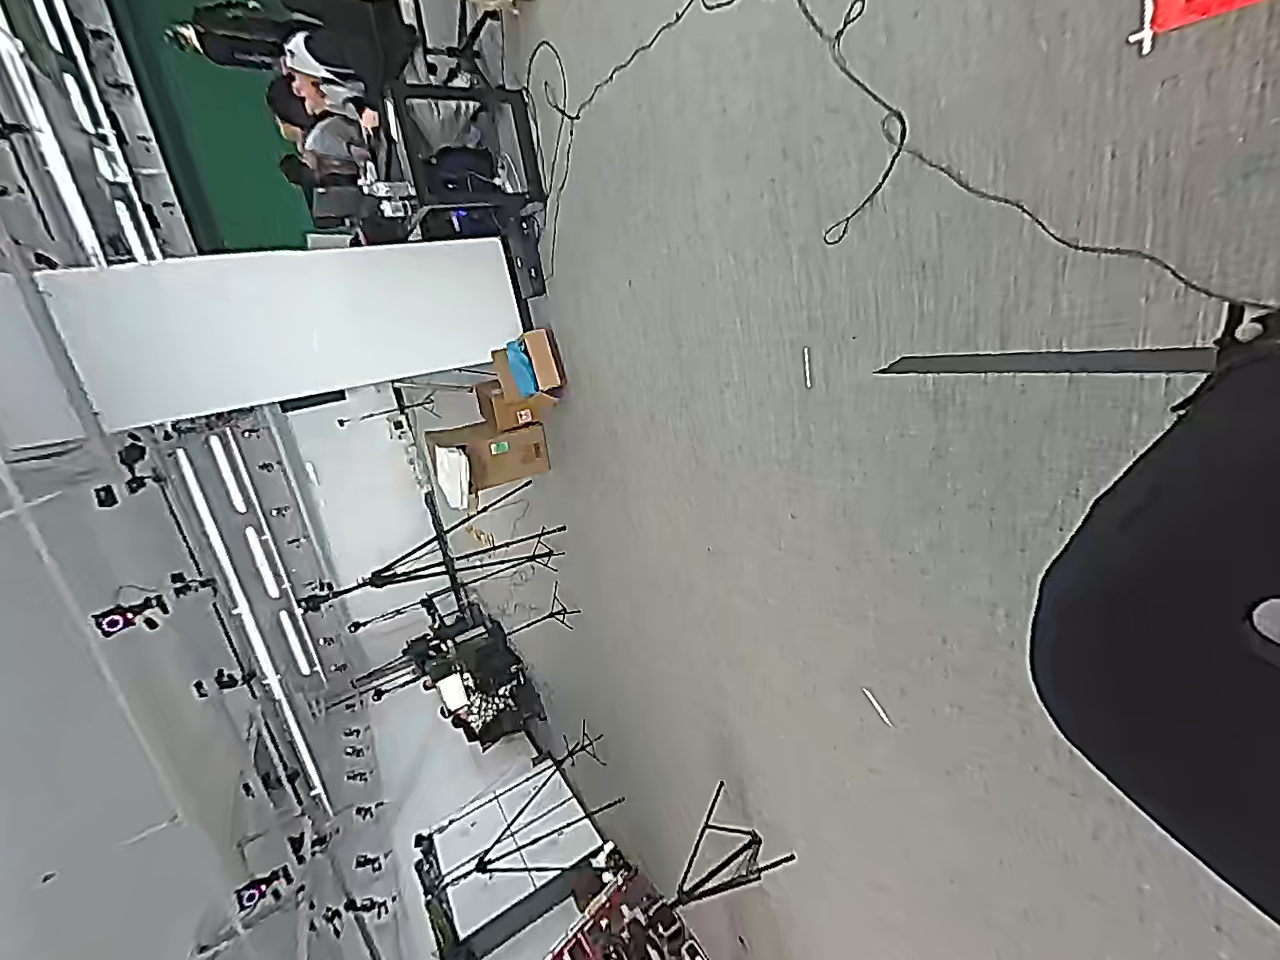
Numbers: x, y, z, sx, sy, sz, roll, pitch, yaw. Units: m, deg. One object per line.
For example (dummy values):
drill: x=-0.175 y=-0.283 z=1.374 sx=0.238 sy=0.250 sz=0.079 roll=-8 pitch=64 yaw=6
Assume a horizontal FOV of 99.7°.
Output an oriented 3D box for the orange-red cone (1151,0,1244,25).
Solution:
orange-red cone: x=0.819 y=-0.827 z=0.783 sx=0.199 sy=0.360 sz=0.198 roll=26 pitch=130 yaw=53
